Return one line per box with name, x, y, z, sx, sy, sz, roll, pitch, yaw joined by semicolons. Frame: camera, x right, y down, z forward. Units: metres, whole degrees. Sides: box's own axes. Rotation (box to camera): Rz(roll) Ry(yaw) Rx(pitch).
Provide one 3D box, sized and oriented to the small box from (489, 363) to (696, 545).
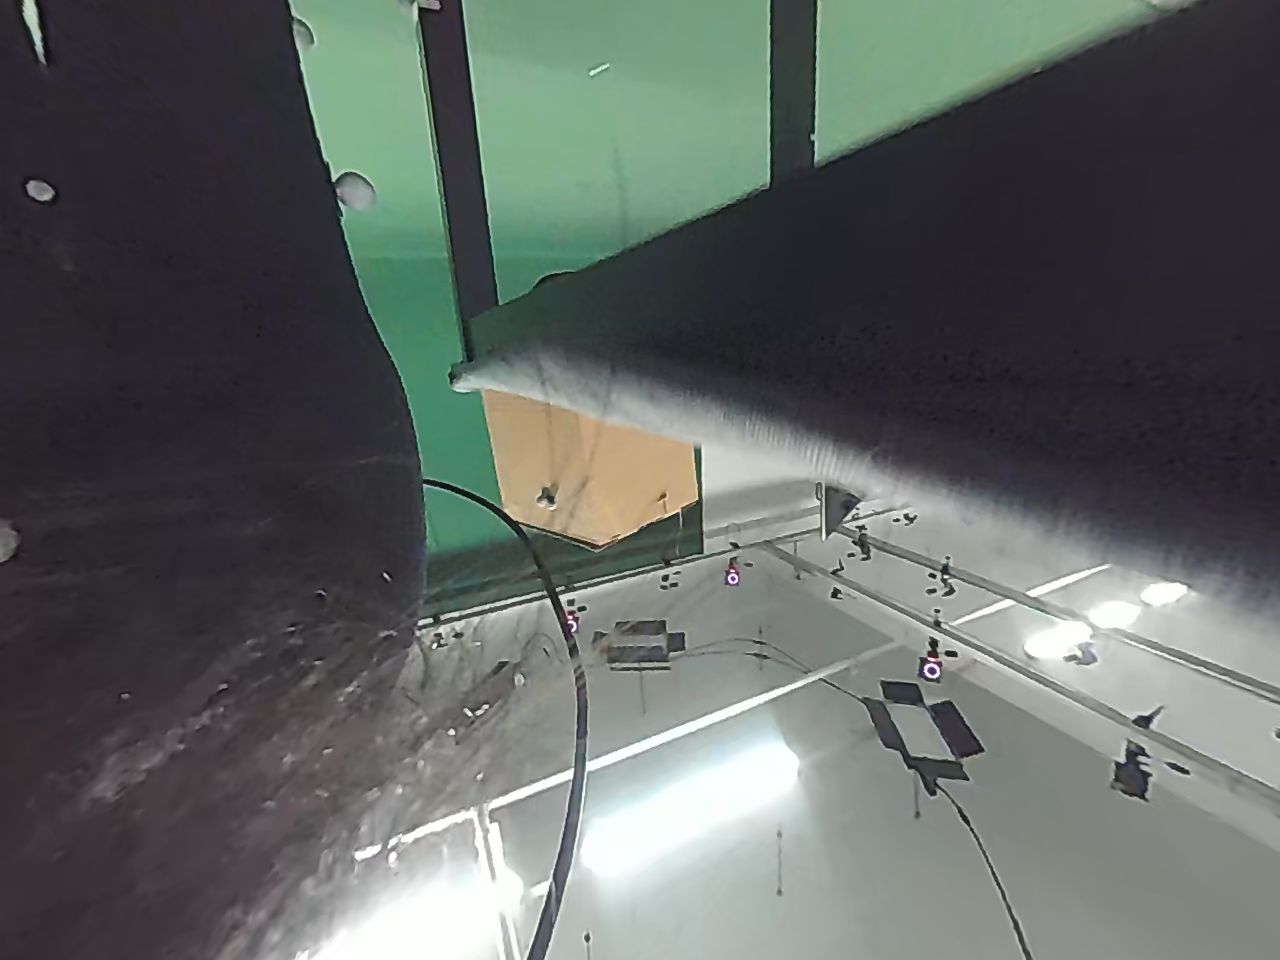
small box;-0.058;-0.043;0.636;0.179;0.176;0.168;9;-158;43
